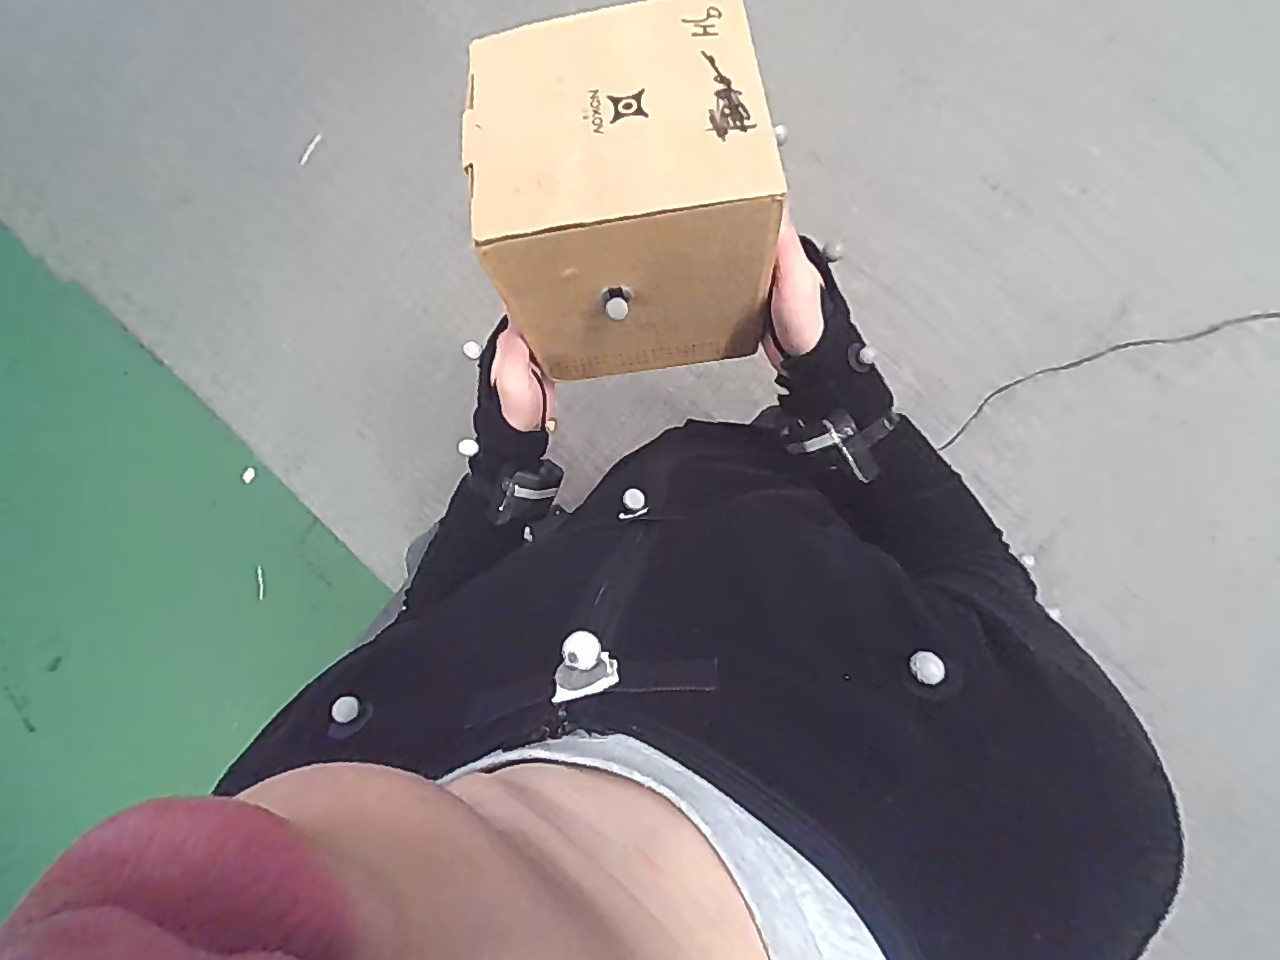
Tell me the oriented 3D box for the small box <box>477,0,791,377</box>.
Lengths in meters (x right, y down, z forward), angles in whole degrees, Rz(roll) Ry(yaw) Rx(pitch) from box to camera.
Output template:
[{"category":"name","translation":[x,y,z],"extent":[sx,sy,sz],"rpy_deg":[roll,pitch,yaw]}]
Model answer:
[{"category":"small box","translation":[-0.002,-0.189,0.392],"extent":[0.179,0.176,0.168],"rpy_deg":[-6,72,4]}]
